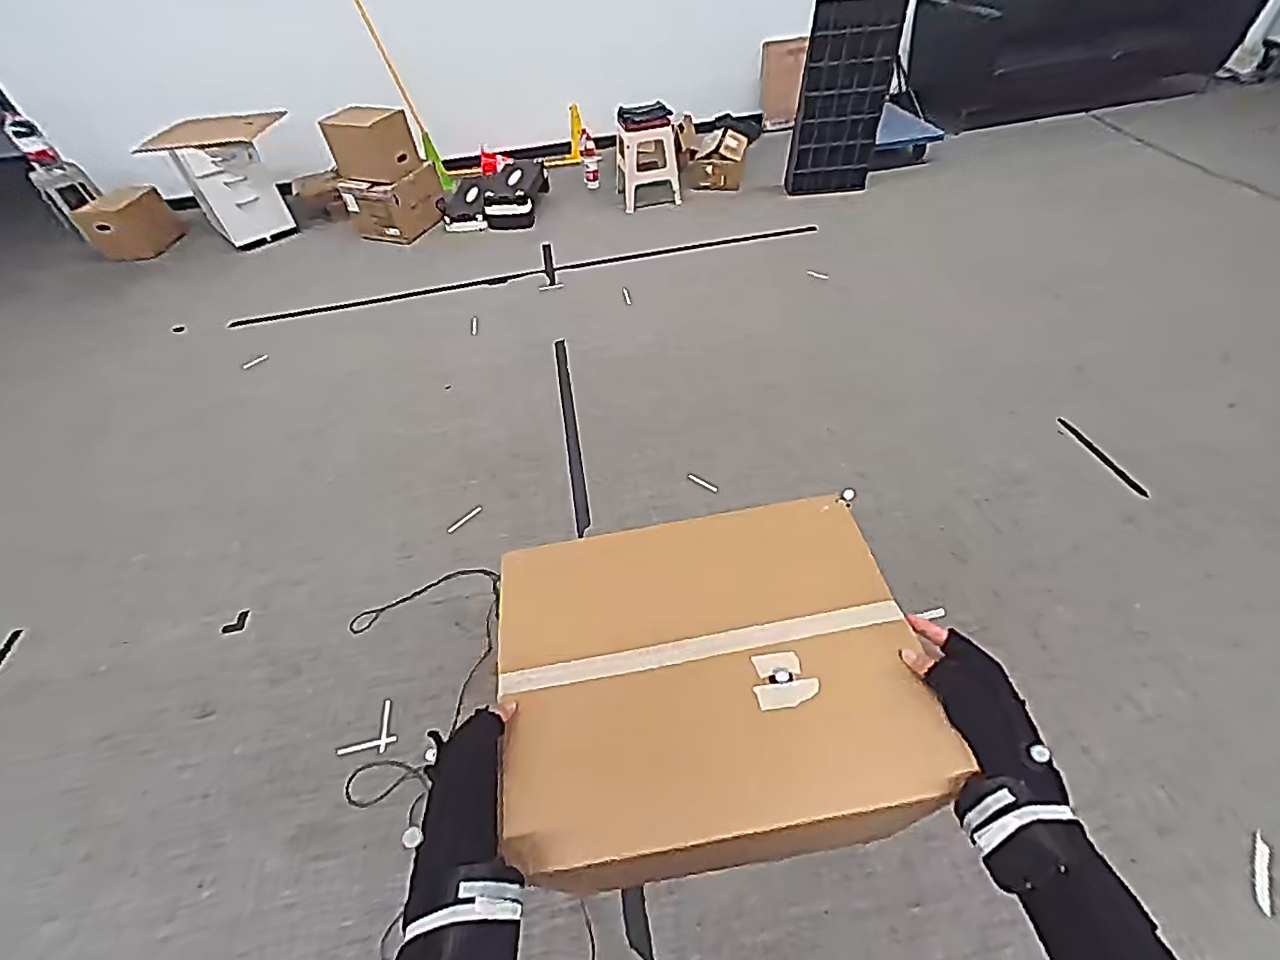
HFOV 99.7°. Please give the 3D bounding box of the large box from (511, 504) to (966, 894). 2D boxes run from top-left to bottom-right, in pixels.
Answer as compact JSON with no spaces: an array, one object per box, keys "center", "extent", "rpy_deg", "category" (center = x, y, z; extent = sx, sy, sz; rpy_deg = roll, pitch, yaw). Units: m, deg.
[{"center":[0.077,0.273,0.665],"extent":[0.408,0.320,0.320],"rpy_deg":[-10,51,-2],"category":"large box"}]
